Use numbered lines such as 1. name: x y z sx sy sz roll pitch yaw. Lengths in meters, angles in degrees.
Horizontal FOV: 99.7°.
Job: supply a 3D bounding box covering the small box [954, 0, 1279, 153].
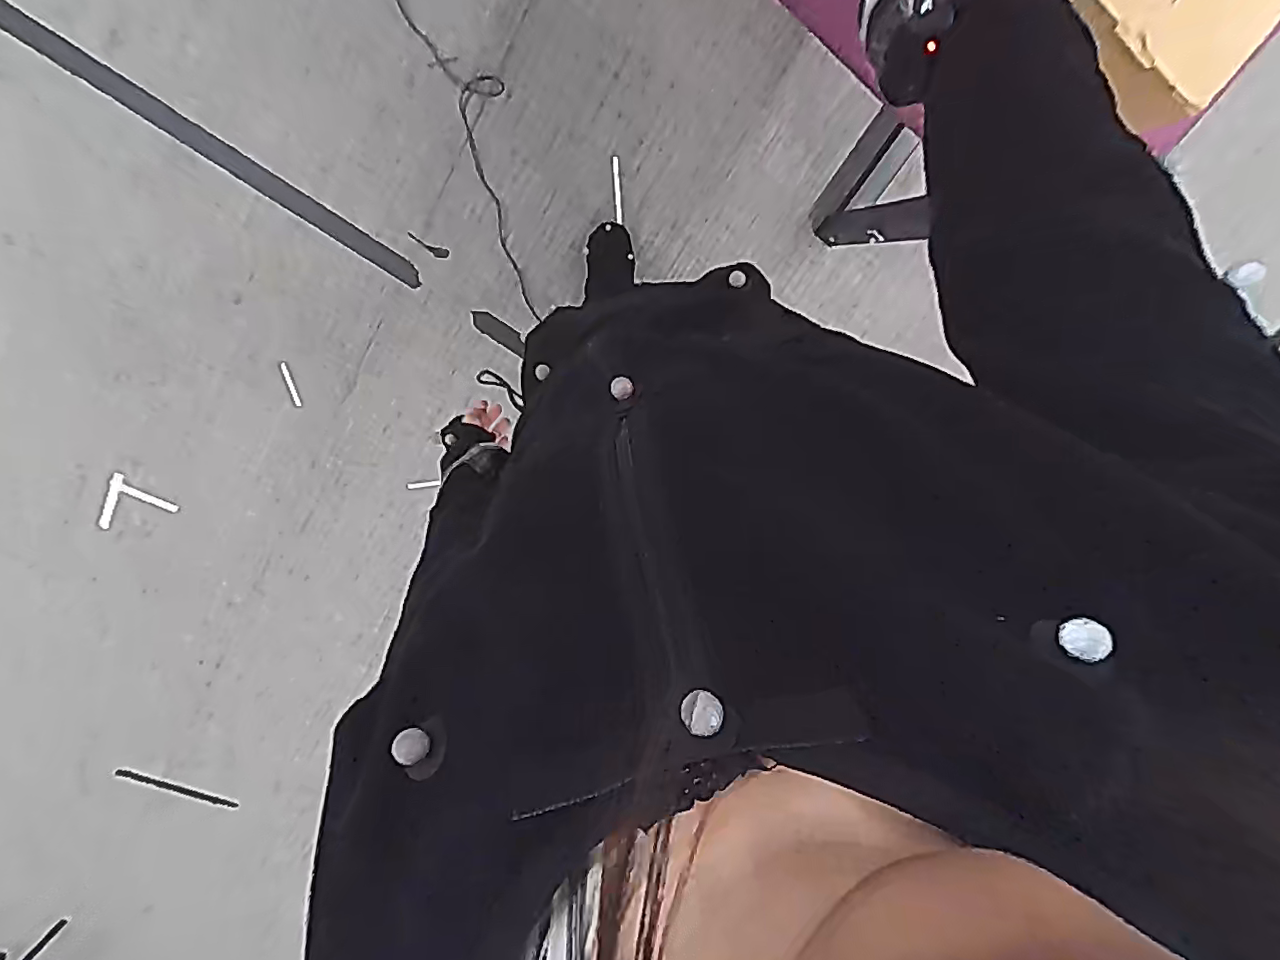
1. small box: 0.423 -0.424 0.464 0.168 0.176 0.179 31 106 -15
